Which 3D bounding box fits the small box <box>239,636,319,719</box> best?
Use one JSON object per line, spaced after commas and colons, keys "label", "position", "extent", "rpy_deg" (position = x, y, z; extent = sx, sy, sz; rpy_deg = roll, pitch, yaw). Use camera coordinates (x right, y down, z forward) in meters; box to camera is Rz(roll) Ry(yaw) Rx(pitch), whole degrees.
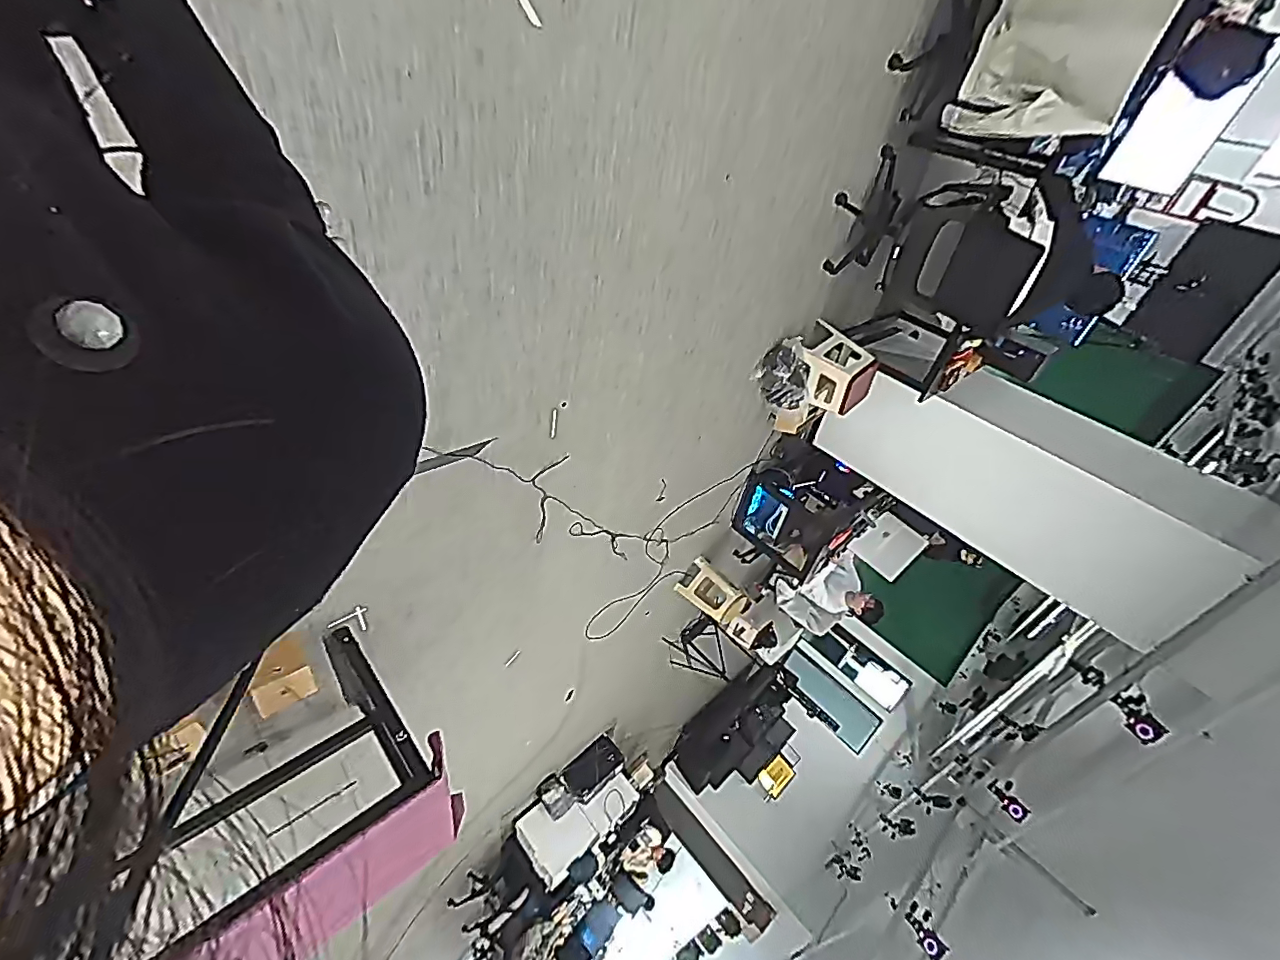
{"label": "small box", "position": [-1.249, 0.677, 1.873], "extent": [0.179, 0.176, 0.168], "rpy_deg": [-24, 139, -37]}

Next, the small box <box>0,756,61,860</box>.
{"label": "small box", "position": [-1.727, 0.904, 1.476], "extent": [0.179, 0.176, 0.168], "rpy_deg": [-11, 131, -50]}

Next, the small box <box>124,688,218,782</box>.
{"label": "small box", "position": [-1.471, 0.795, 1.699], "extent": [0.168, 0.176, 0.179], "rpy_deg": [-26, 142, -36]}
